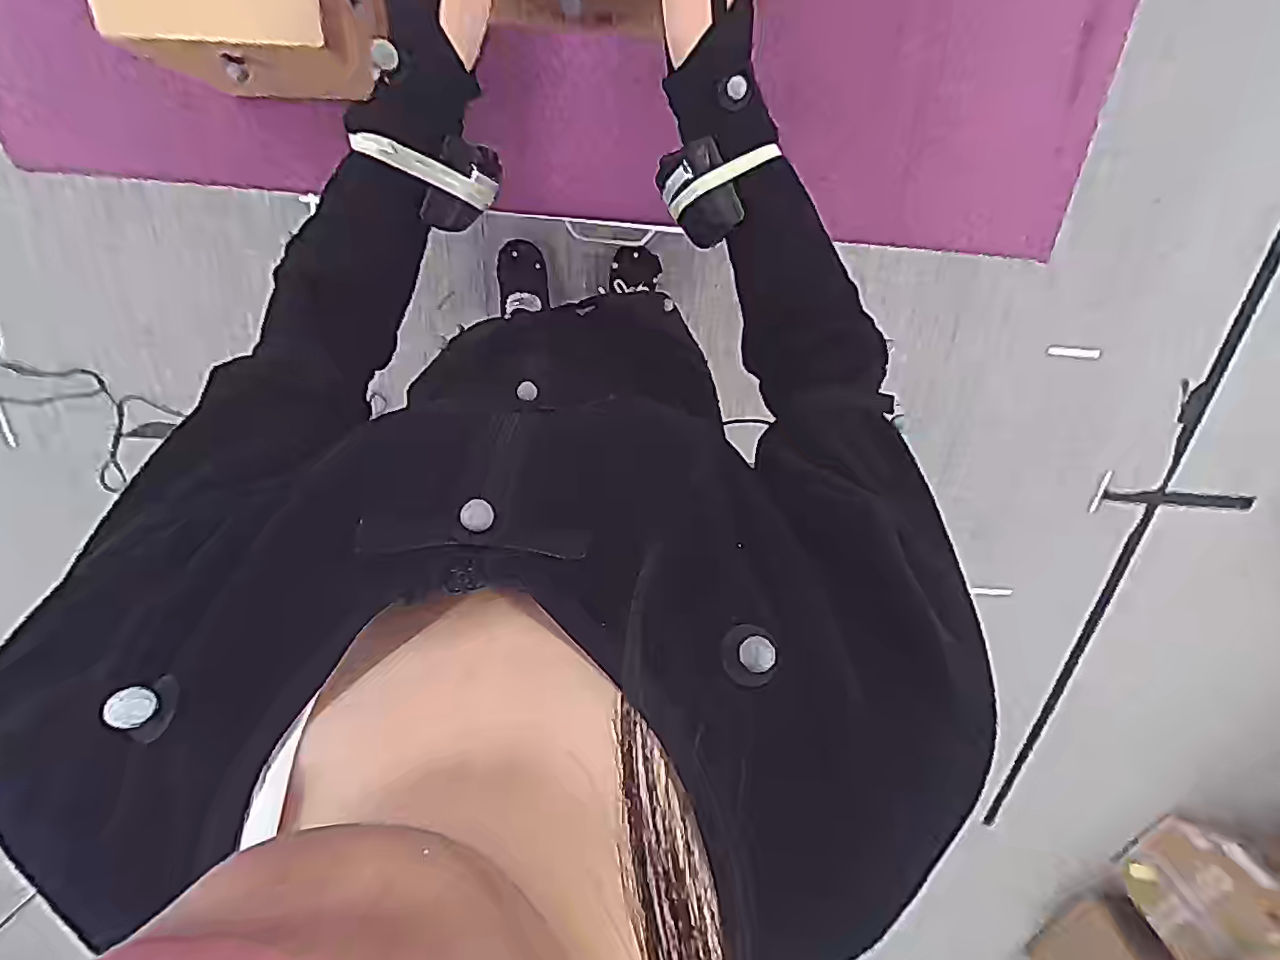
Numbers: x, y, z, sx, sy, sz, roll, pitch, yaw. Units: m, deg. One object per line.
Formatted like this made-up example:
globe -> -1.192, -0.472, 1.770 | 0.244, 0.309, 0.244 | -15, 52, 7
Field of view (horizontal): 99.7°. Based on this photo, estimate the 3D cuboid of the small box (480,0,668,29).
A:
small box -> -0.049, -0.450, 0.353 | 0.168, 0.176, 0.179 | -1, 103, -7

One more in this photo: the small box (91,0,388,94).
small box -> -0.338, -0.456, 0.470 | 0.179, 0.176, 0.168 | 1, 113, -3
